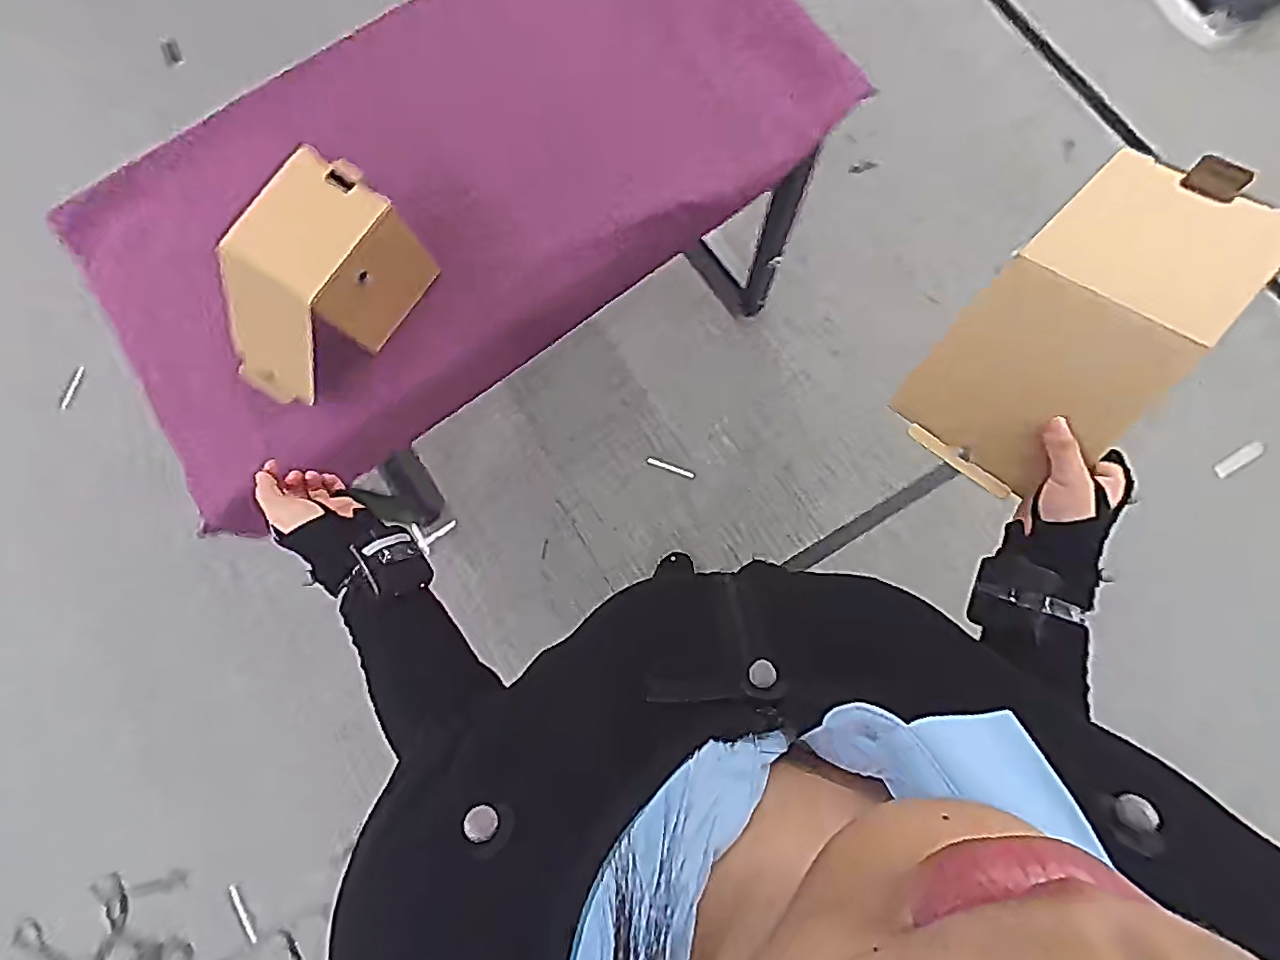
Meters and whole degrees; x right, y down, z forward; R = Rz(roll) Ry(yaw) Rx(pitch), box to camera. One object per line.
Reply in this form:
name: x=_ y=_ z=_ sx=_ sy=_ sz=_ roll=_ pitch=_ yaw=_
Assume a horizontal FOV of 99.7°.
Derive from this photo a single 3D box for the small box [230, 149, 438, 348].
small box: x=-0.436 y=-0.329 z=0.804 sx=0.168 sy=0.176 sz=0.179 roll=35 pitch=84 yaw=7
